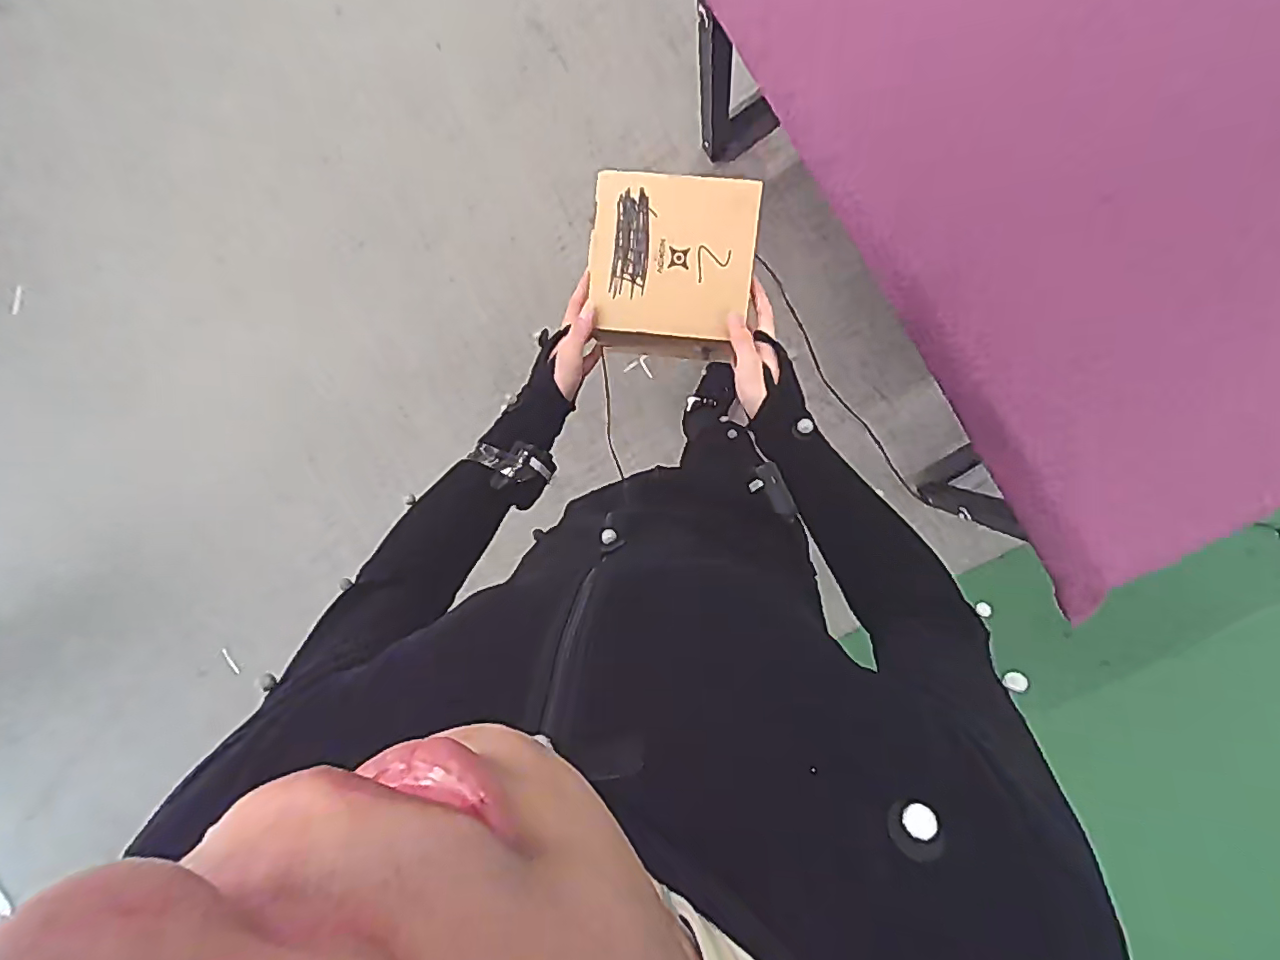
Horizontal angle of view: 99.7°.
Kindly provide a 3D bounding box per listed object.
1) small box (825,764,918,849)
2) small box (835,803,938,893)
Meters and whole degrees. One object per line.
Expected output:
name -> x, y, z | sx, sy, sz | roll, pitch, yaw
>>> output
small box -> 0.646, 0.958, 1.543 | 0.179, 0.176, 0.168 | -31, 91, 9
small box -> 0.621, 0.980, 1.384 | 0.179, 0.176, 0.168 | -34, 91, 9
